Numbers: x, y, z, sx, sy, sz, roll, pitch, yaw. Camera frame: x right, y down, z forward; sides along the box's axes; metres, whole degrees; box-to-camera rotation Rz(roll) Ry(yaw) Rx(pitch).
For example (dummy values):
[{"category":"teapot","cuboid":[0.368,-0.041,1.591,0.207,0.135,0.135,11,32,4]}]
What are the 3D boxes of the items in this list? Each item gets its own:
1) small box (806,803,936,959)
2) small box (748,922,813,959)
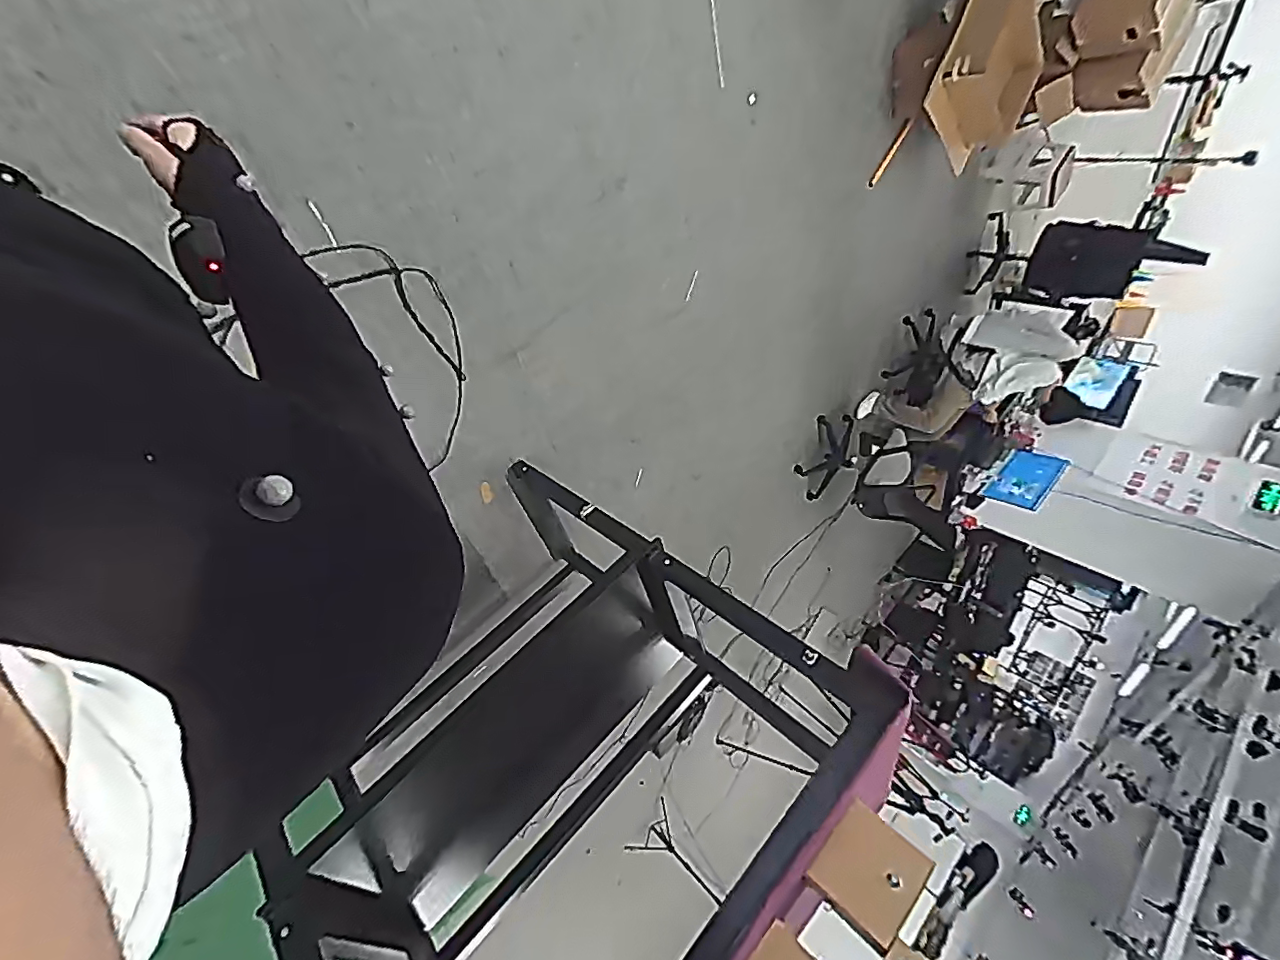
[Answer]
[{"category":"small box","cuboid":[0.446,0.781,1.061,0.179,0.176,0.168,-42,136,-21]},{"category":"small box","cuboid":[0.256,0.934,0.950,0.179,0.176,0.168,-40,136,-23]}]
